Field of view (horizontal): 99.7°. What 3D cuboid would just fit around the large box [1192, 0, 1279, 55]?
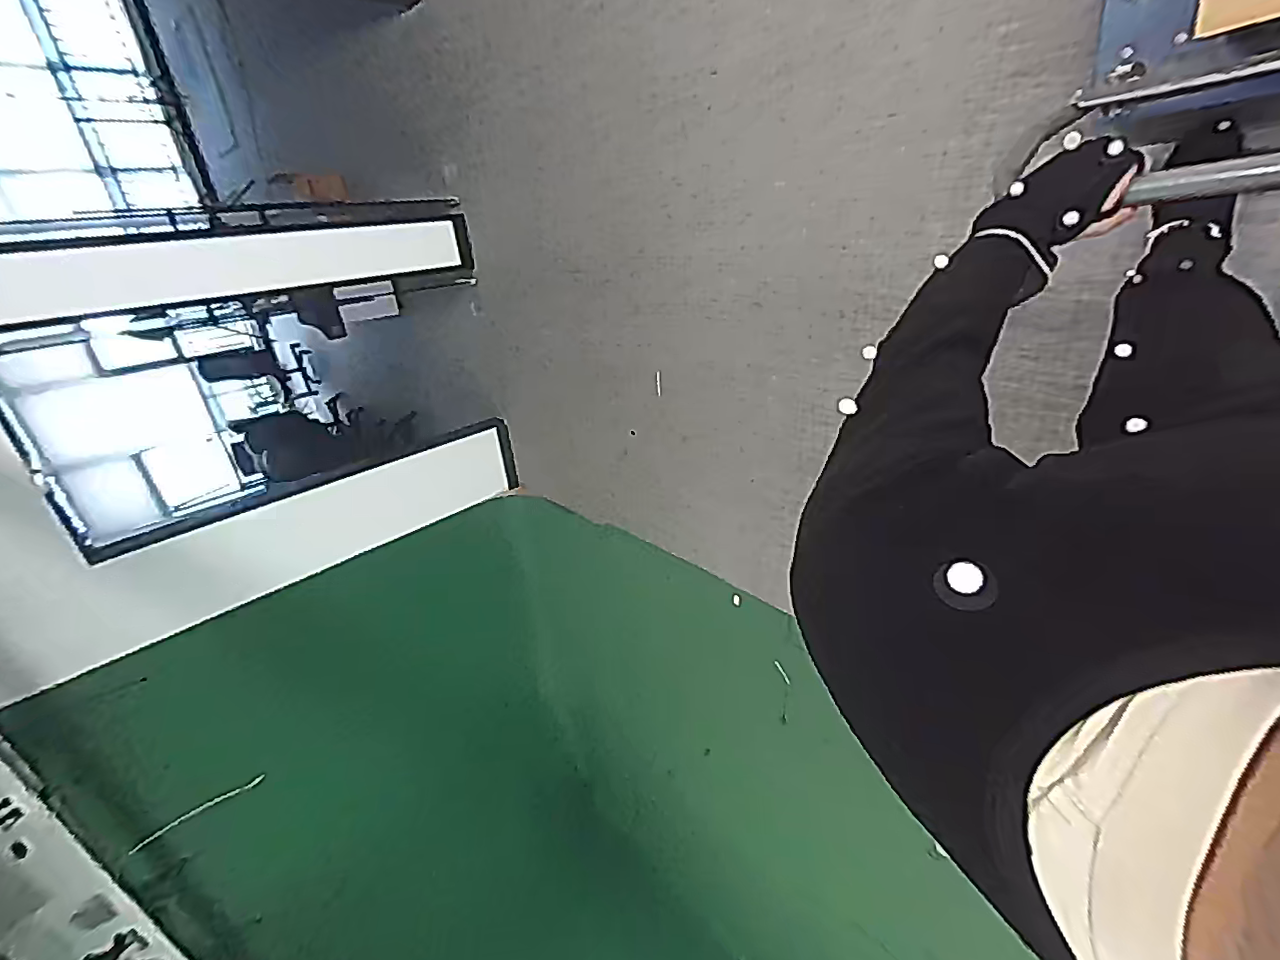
[{"bbox_3d":[0.882,-0.767,0.594,0.320,0.320,0.408,15,128,45],"label":"large box"}]
